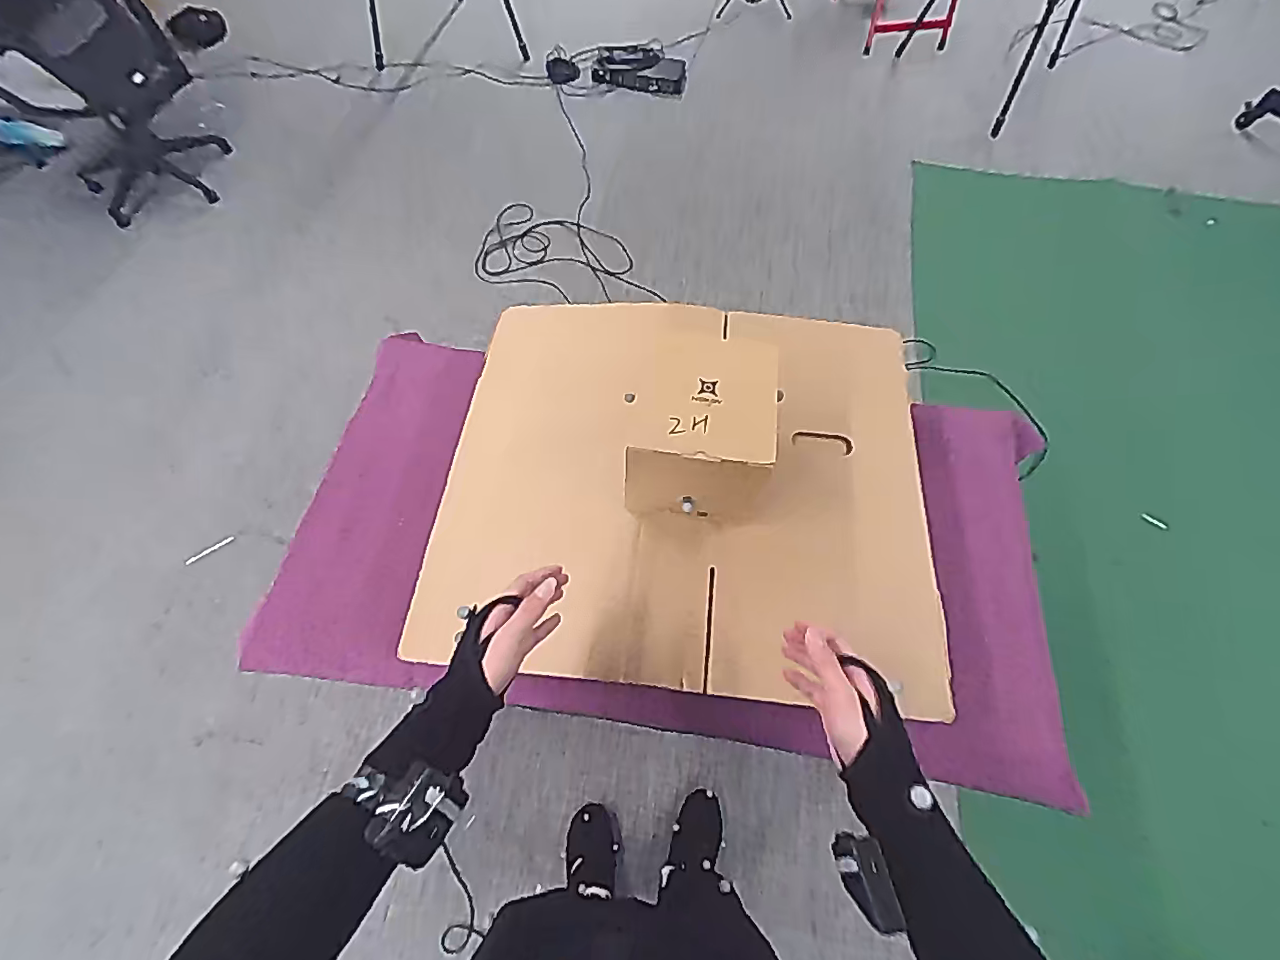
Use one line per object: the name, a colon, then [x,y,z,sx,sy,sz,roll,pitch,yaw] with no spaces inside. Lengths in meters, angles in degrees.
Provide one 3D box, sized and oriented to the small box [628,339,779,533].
small box: [0.076,-0.052,0.698,0.168,0.176,0.179,8,63,2]
